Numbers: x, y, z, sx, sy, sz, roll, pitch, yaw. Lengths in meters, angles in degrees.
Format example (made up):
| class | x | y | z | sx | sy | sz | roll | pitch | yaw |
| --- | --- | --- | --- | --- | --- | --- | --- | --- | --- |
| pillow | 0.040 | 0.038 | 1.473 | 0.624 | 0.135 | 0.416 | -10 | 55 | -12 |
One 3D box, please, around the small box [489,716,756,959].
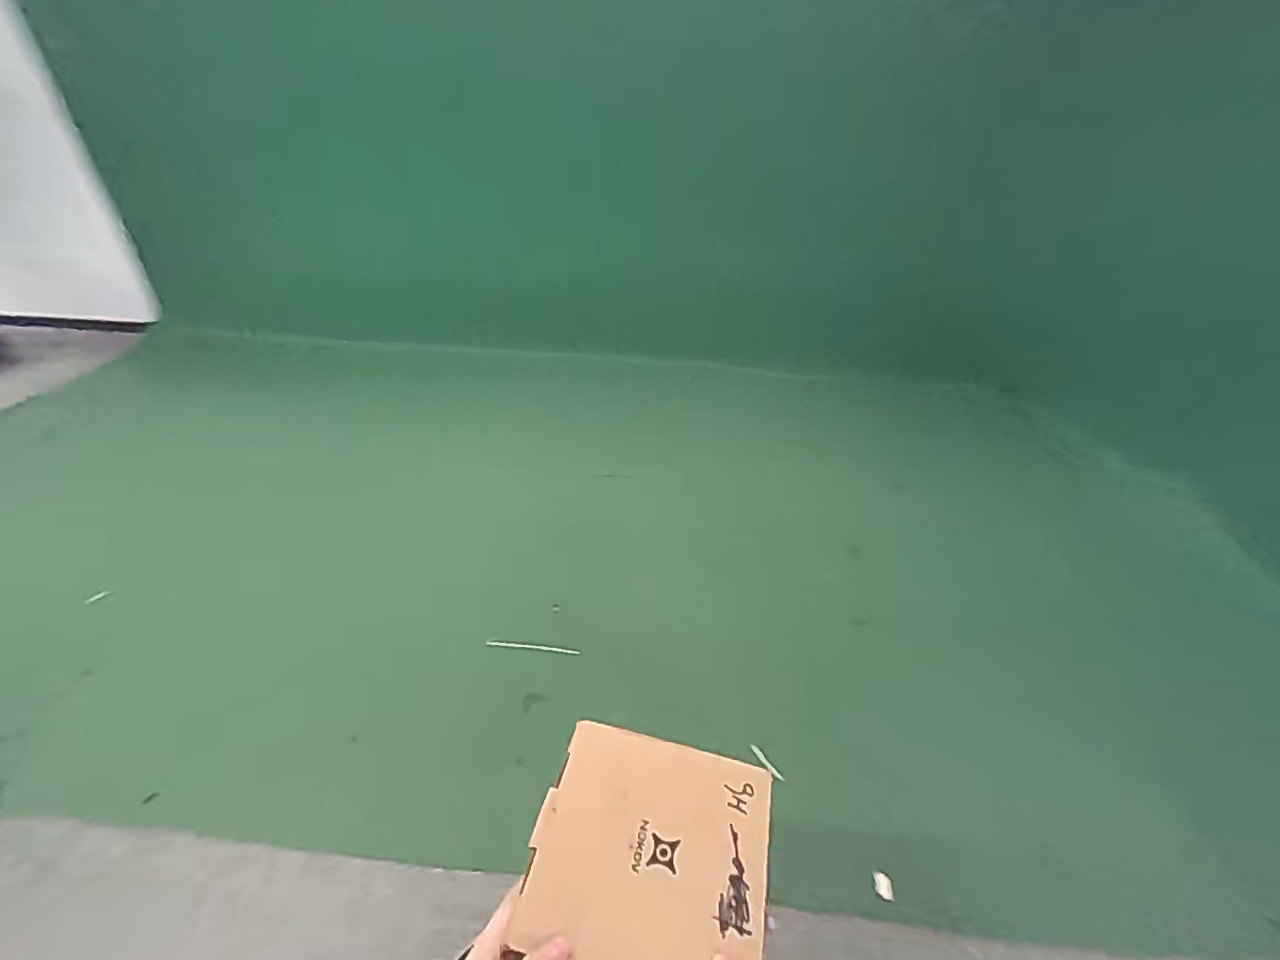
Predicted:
| class | x | y | z | sx | sy | sz | roll | pitch | yaw |
| --- | --- | --- | --- | --- | --- | --- | --- | --- | --- |
| small box | -0.006 | 0.340 | 0.466 | 0.179 | 0.176 | 0.168 | 11 | 39 | 8 |
